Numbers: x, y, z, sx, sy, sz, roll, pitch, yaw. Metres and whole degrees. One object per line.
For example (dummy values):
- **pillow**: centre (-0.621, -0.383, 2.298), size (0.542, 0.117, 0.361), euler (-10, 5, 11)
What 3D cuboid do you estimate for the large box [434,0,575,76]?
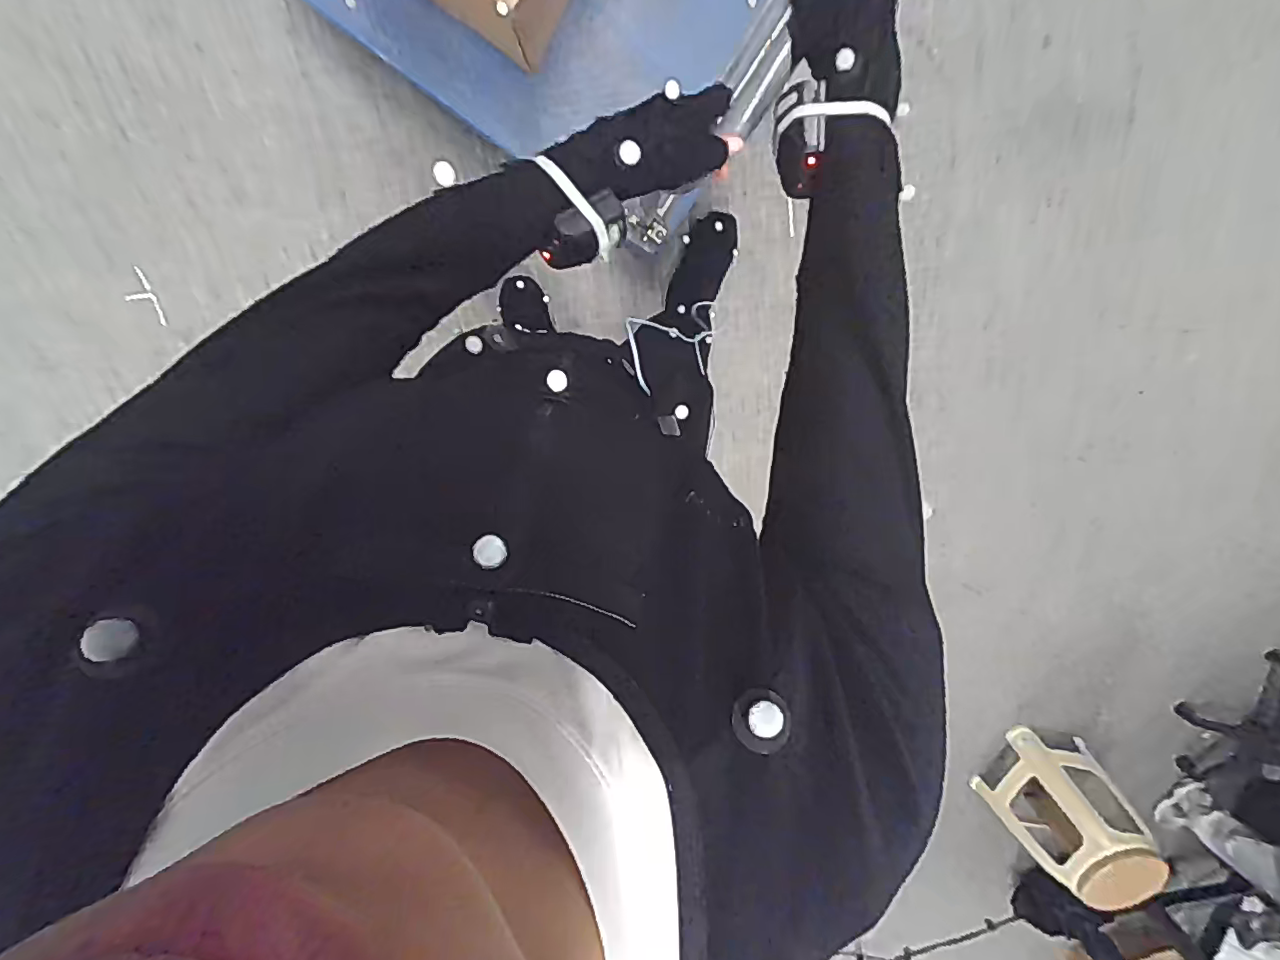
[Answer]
- **large box**: centre (-0.202, -0.919, 0.779), size (0.320, 0.320, 0.408), euler (30, 109, -15)
